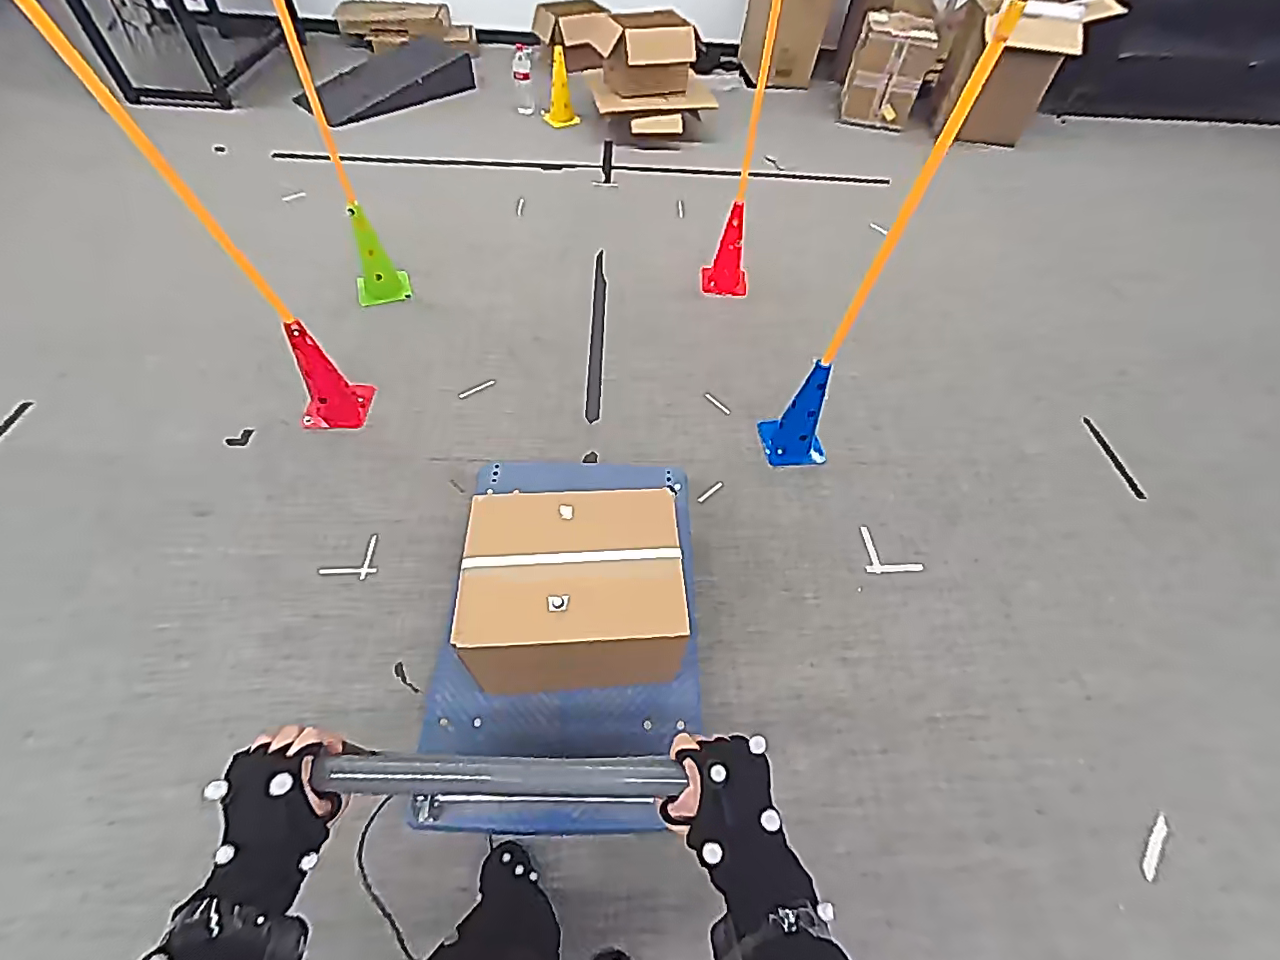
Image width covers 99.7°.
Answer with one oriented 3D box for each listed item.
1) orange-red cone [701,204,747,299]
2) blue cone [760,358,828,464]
[{"bbox_3d":[0.383,-0.967,2.250,0.199,0.360,0.198,7,54,0],"label":"orange-red cone"},{"bbox_3d":[0.530,-0.229,1.736,0.193,0.380,0.192,-2,53,-6],"label":"blue cone"}]
